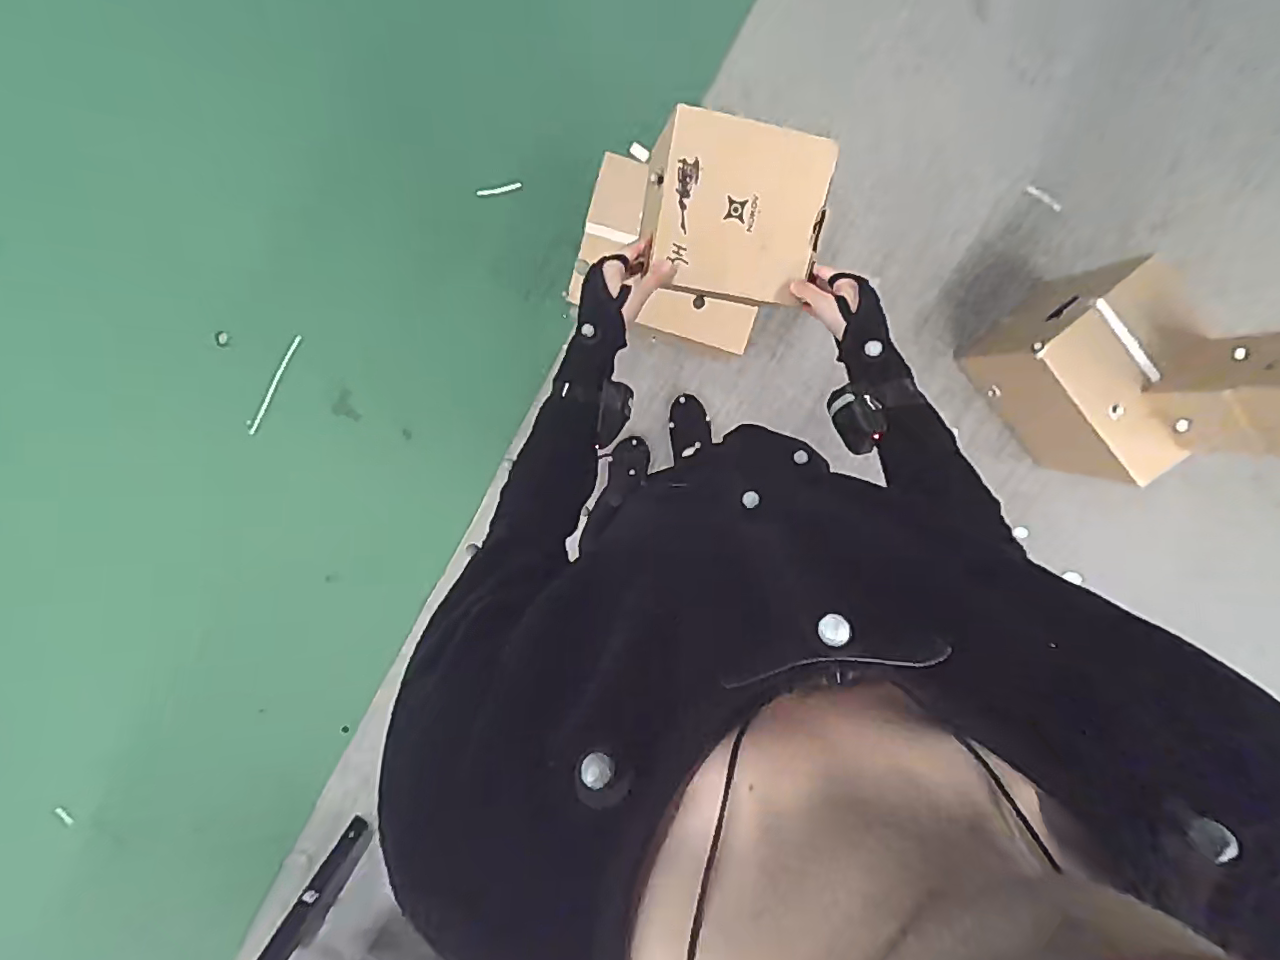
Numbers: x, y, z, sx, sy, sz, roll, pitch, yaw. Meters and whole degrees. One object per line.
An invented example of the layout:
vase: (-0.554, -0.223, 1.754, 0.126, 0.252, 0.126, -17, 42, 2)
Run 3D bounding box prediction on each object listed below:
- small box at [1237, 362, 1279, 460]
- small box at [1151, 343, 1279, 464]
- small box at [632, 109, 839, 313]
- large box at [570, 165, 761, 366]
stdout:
small box: (1.189, -0.126, 0.902, 0.168, 0.176, 0.179, -39, 95, 5)
small box: (1.185, -0.154, 1.061, 0.179, 0.176, 0.168, -40, 95, 5)
small box: (0.096, -0.297, 0.632, 0.179, 0.176, 0.168, 6, 107, -10)
large box: (0.088, -0.479, 1.291, 0.408, 0.320, 0.320, 17, 98, 0)
